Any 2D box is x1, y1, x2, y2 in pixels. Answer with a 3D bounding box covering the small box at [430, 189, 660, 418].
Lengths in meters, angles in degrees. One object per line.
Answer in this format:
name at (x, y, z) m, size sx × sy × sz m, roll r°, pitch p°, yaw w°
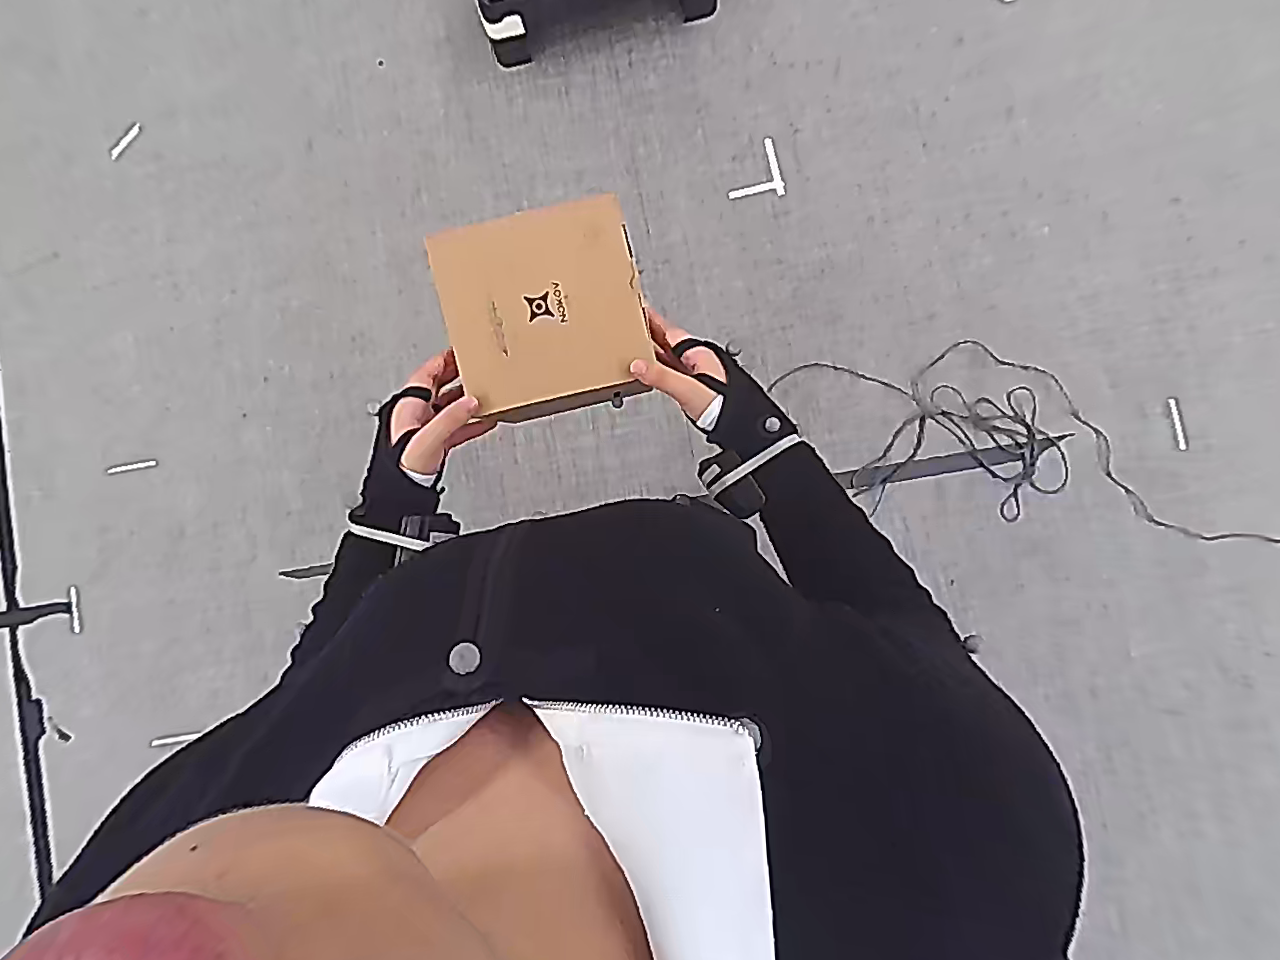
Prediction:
small box at (-0.085, -0.164, 0.560) m, size 0.179 × 0.176 × 0.168 m, roll -14°, pitch 93°, yaw 1°
